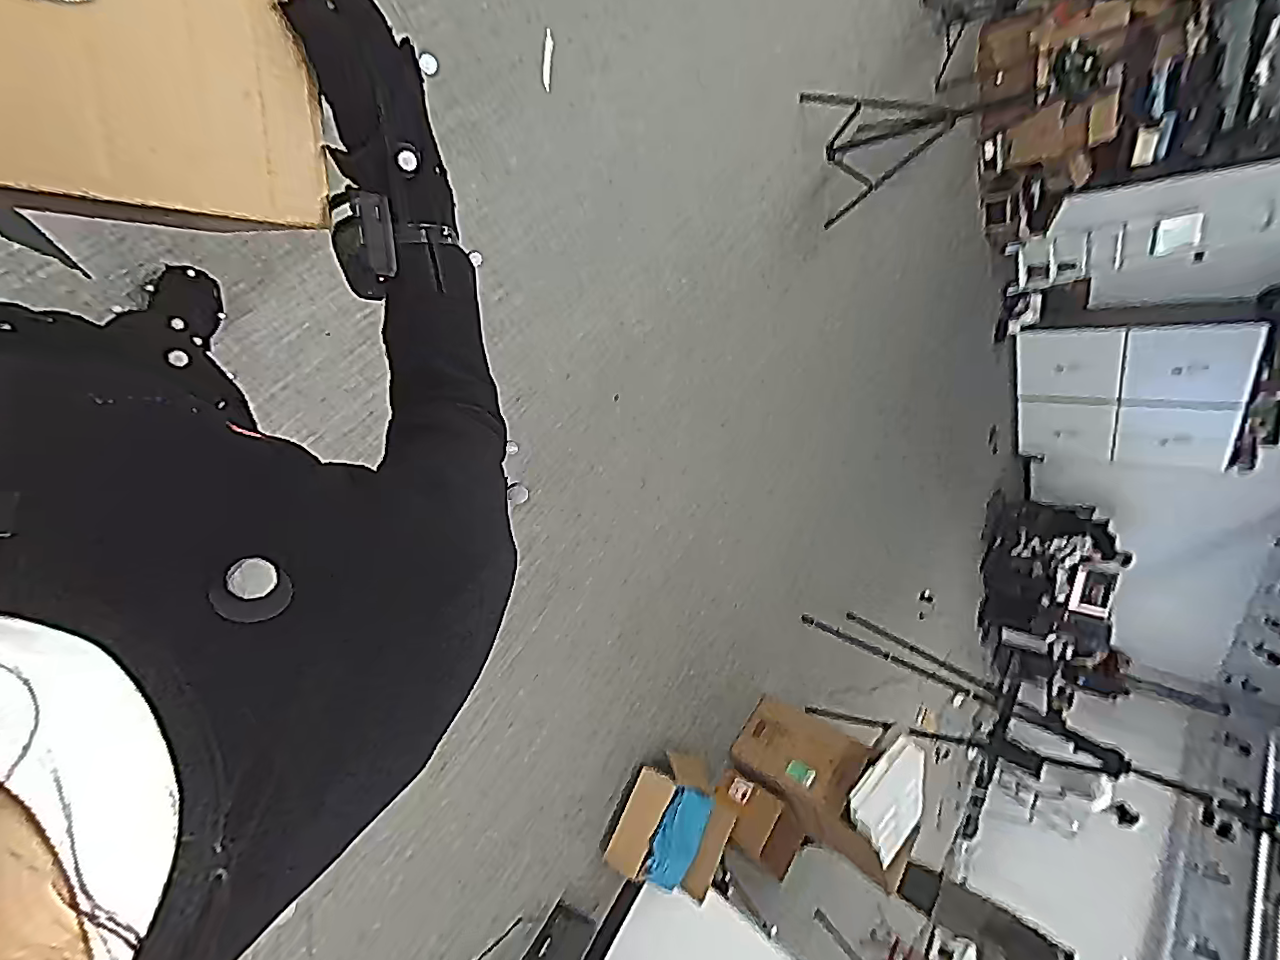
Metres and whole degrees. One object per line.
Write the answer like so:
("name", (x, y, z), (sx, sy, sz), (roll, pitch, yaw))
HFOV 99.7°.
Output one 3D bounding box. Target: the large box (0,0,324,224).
("large box", (-0.469, -0.338, 0.306), (0.408, 0.320, 0.320), (-16, 119, -45))
